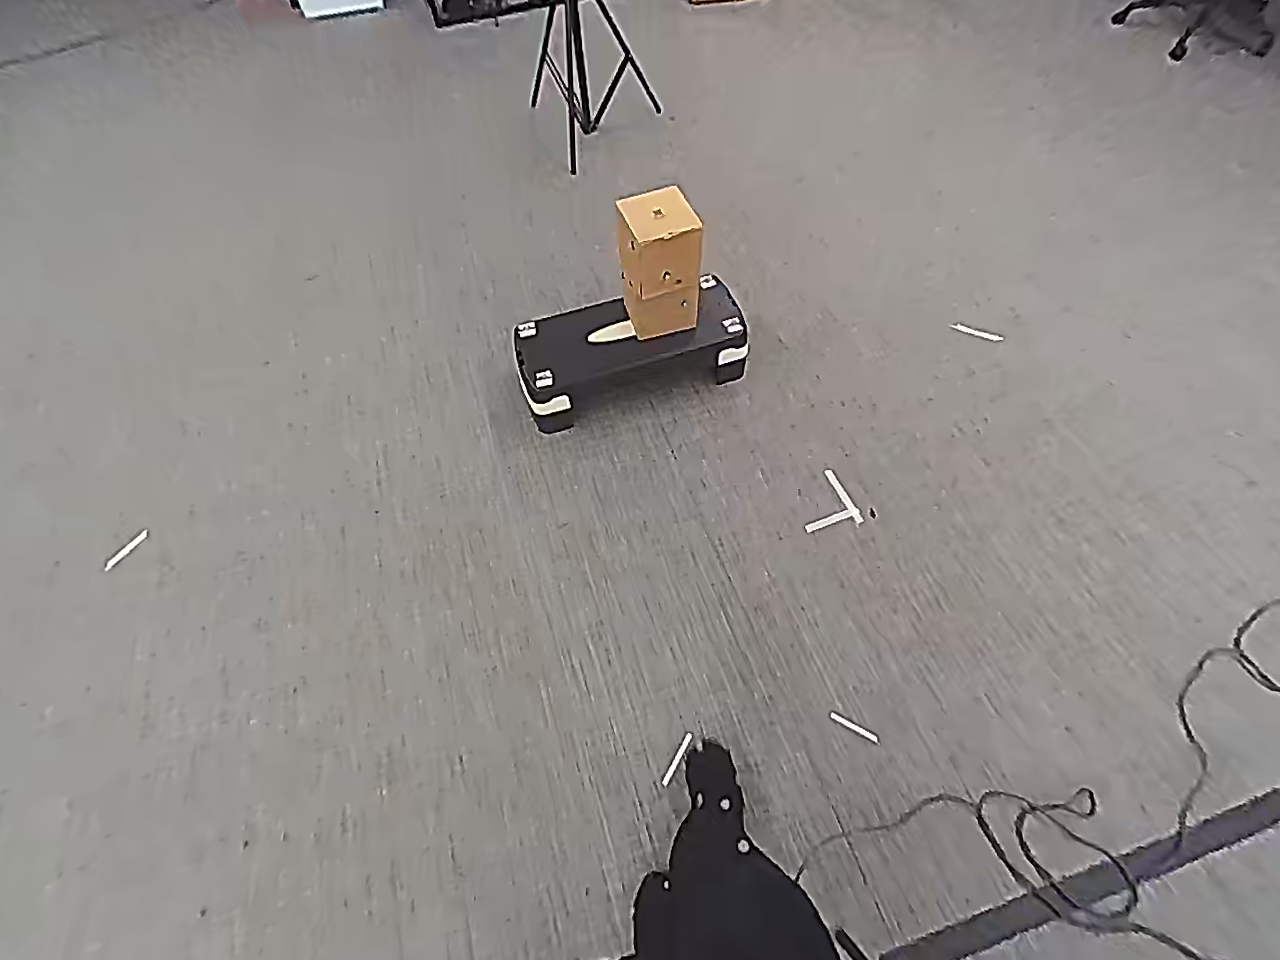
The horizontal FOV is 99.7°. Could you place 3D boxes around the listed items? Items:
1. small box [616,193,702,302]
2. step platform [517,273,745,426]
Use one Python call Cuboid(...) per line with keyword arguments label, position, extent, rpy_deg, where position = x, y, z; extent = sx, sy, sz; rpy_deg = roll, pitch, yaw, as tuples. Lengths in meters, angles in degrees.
Cuboid(label="small box", position=(0.045, -0.589, 1.378), extent=(0.168, 0.176, 0.179), rpy_deg=(-19, 62, -9))
Cuboid(label="step platform", position=(-0.026, -0.408, 1.664), extent=(0.684, 0.204, 0.286), rpy_deg=(-18, 60, -7))
